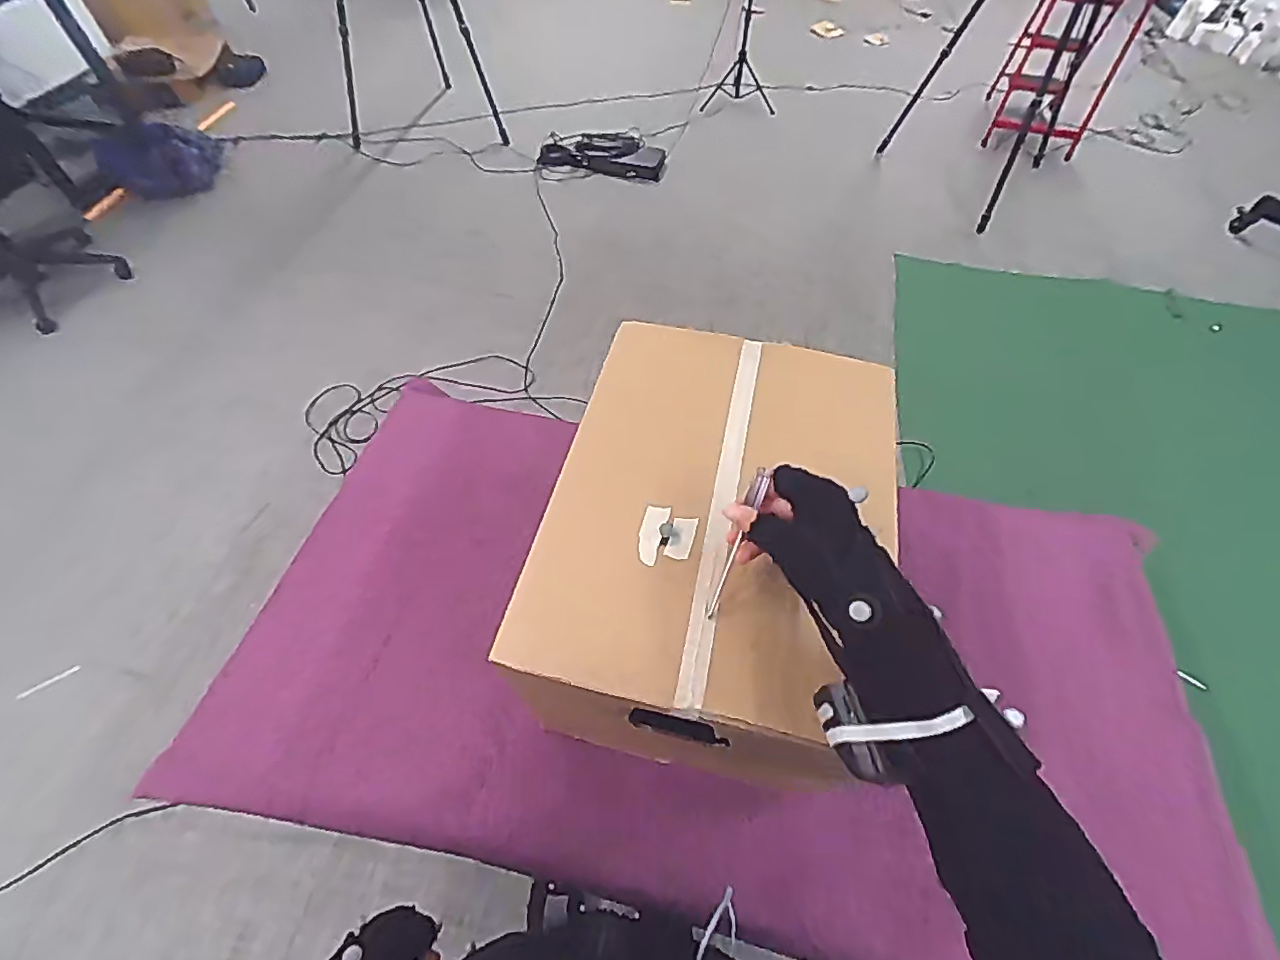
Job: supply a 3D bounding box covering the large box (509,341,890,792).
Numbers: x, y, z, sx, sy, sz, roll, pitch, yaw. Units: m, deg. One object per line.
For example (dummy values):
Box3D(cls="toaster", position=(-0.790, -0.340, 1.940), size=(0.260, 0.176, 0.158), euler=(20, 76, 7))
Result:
Box3D(cls="large box", position=(0.080, 0.105, 0.650), size=(0.320, 0.320, 0.408), euler=(12, 57, 7))
